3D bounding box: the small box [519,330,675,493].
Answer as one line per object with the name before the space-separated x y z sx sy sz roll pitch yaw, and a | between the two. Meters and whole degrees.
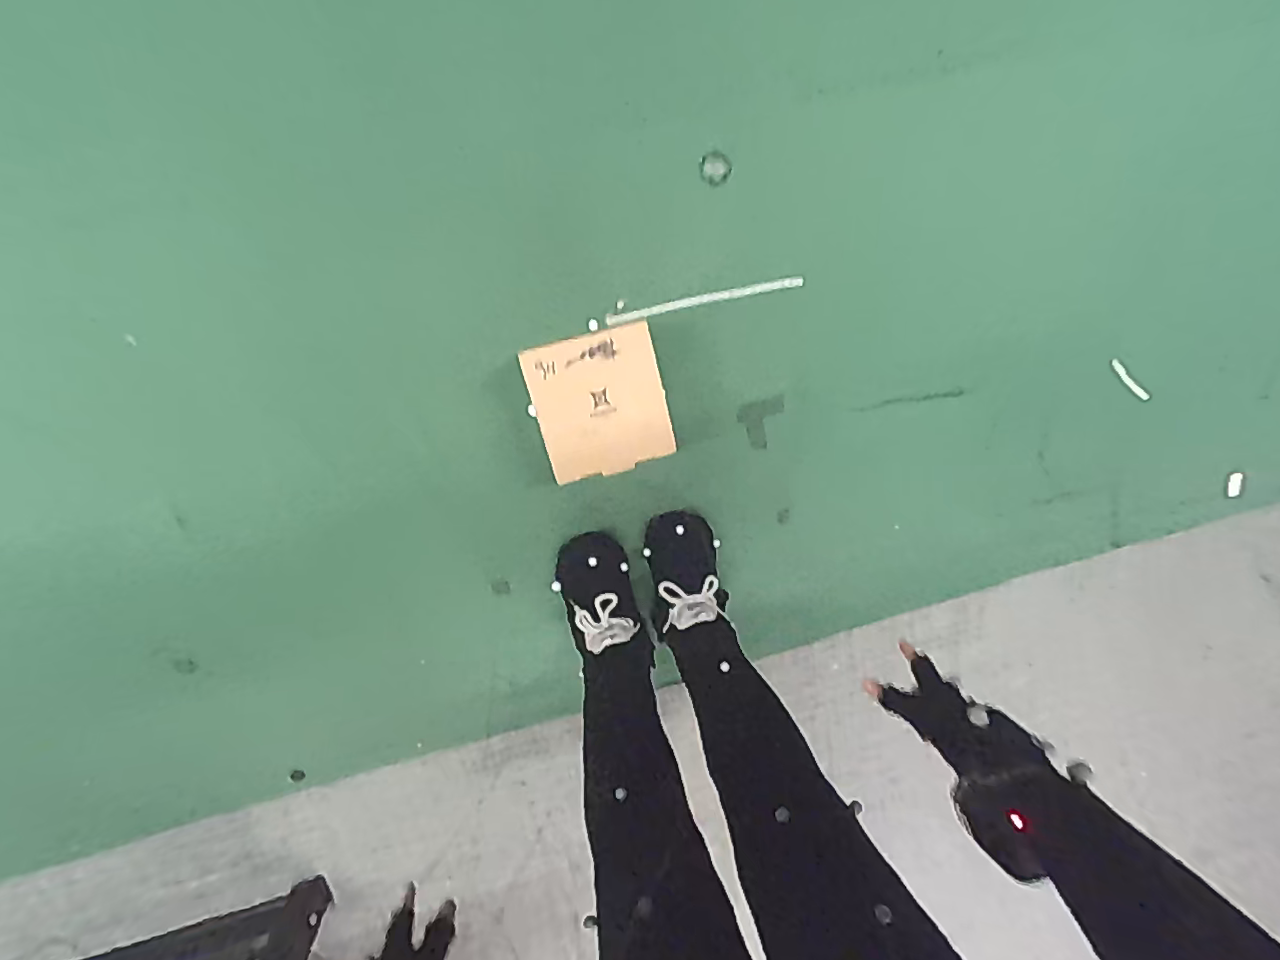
small box | -0.061 -0.105 0.756 0.168 0.176 0.179 -16 108 -5
